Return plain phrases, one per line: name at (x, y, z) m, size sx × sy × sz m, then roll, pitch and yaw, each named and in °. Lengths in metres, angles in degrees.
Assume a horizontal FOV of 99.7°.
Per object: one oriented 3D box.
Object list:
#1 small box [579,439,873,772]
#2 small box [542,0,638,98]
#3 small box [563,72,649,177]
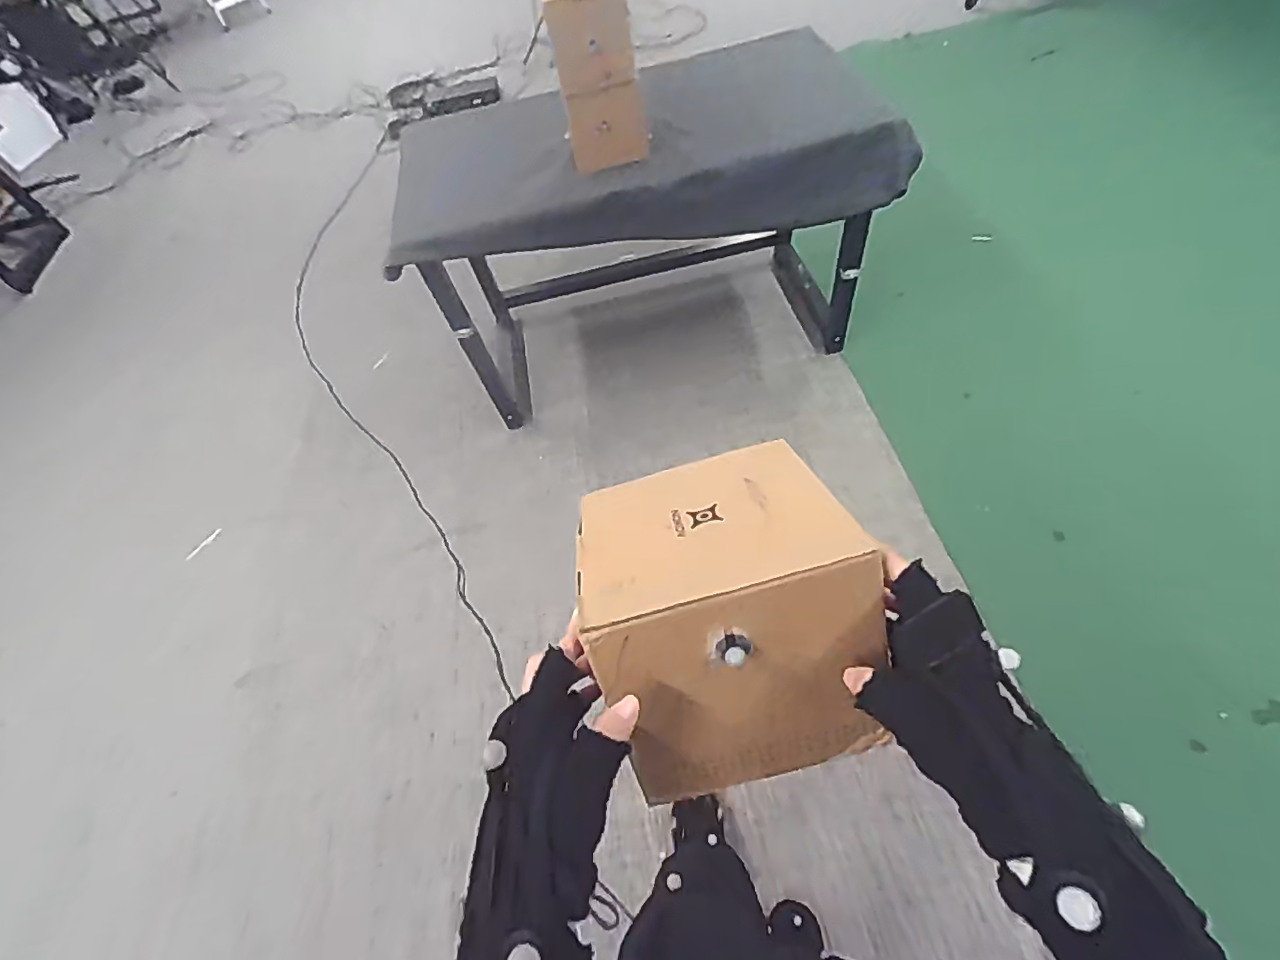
small box at (0.060, 0.092, 0.421) m, size 0.179 × 0.176 × 0.168 m, roll -15°, pitch 27°, yaw 1°
small box at (-0.107, -0.947, 1.153) m, size 0.168 × 0.176 × 0.179 m, roll -13°, pitch 56°, yaw 1°
small box at (-0.079, -0.860, 1.288) m, size 0.179 × 0.176 × 0.168 m, roll -13°, pitch 56°, yaw 2°
